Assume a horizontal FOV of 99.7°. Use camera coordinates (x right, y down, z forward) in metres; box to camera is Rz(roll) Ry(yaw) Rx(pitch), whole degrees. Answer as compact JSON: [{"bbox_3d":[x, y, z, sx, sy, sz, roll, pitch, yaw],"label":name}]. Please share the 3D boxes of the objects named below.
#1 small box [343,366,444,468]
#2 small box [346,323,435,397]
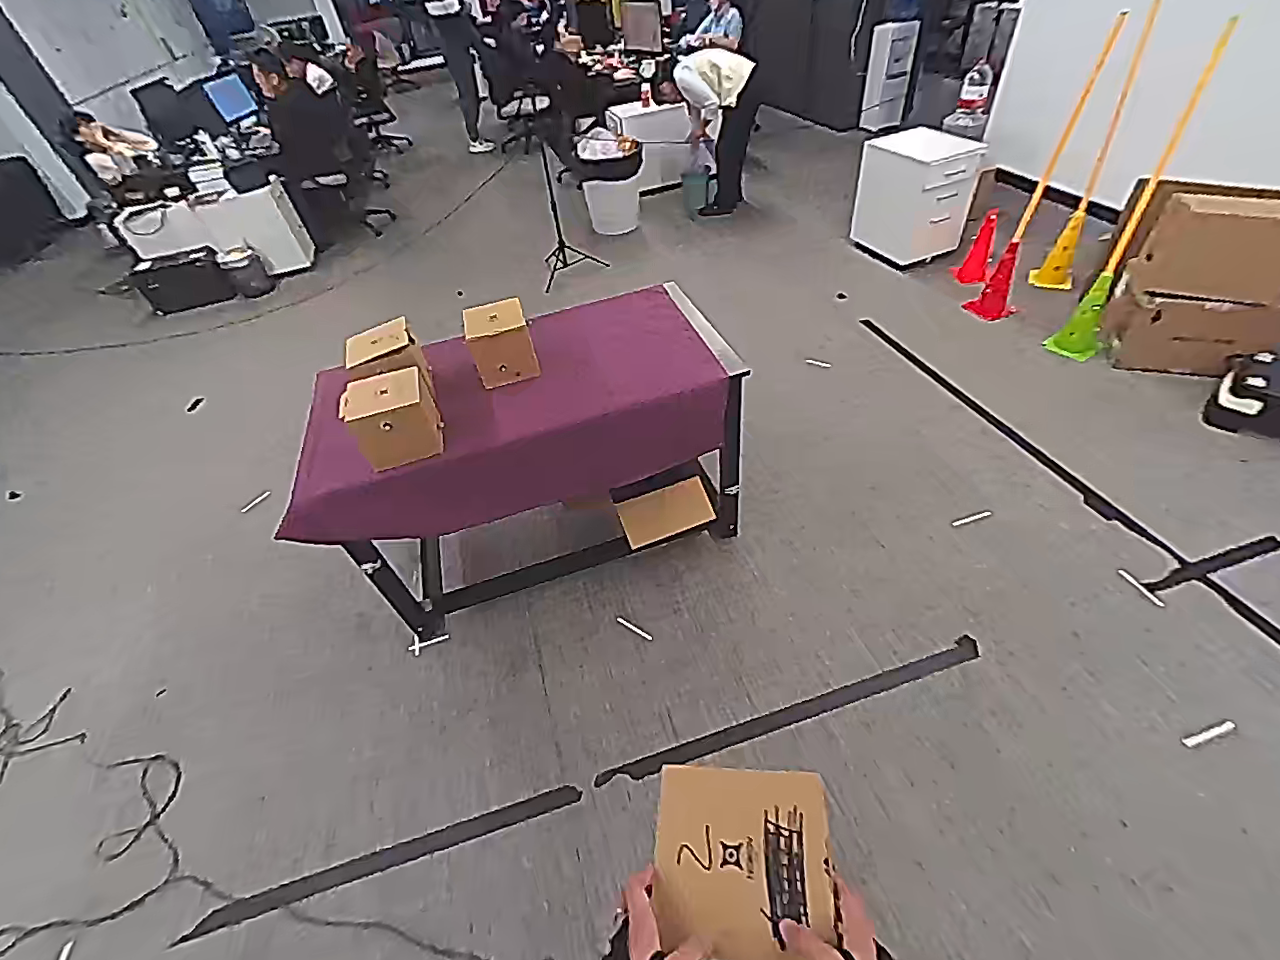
[{"bbox_3d":[-0.610,-0.154,1.354,0.179,0.176,0.168,-17,46,-9],"label":"small box"},{"bbox_3d":[-0.697,-0.310,1.517,0.179,0.176,0.168,-18,47,-10],"label":"small box"}]
